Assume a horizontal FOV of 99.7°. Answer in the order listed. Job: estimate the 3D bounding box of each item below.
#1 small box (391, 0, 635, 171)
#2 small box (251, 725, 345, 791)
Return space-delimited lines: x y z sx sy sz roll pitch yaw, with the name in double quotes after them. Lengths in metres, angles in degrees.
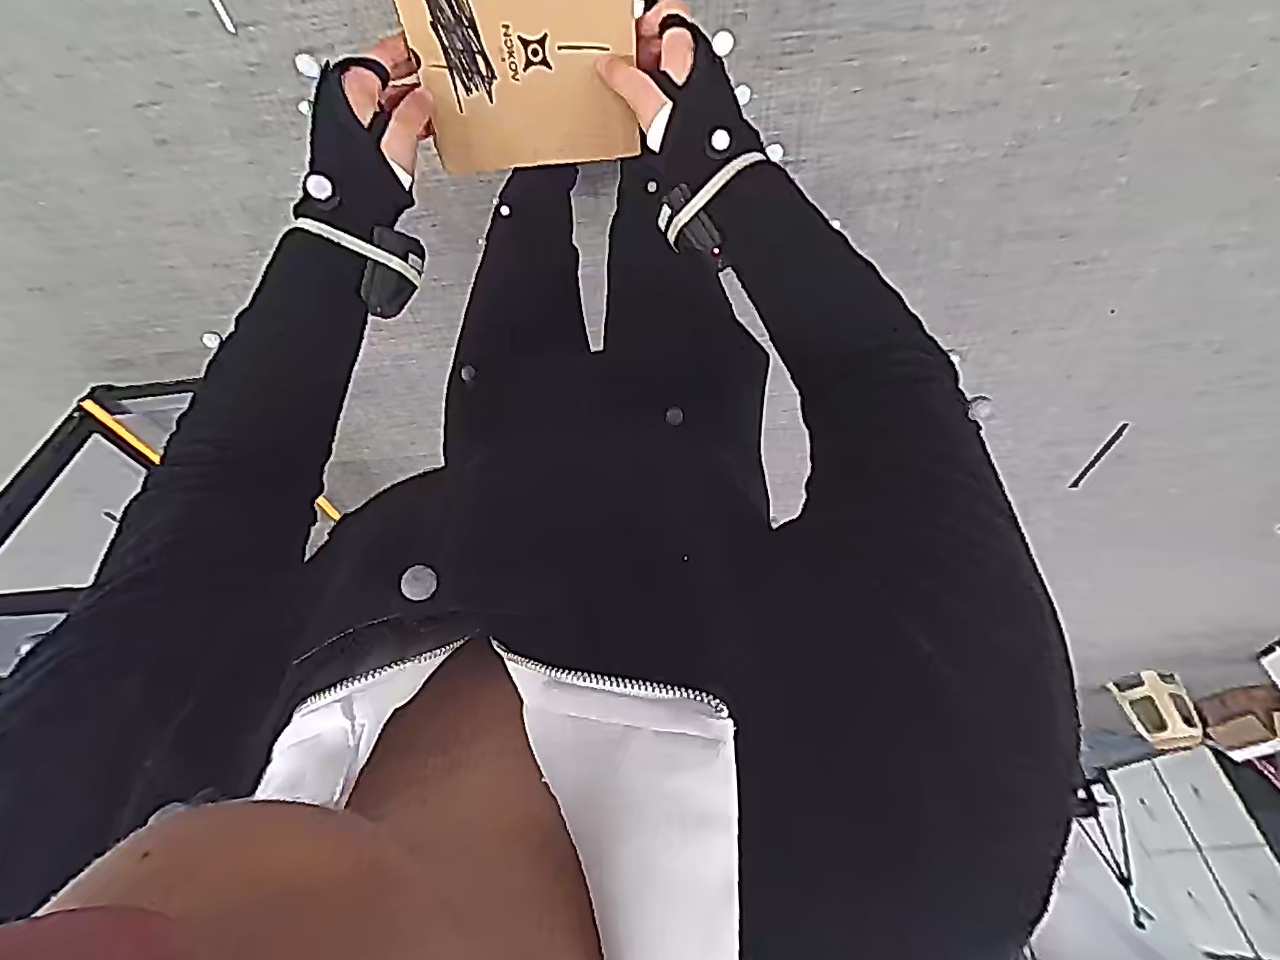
-0.100 -0.394 0.466 0.179 0.176 0.168 -6 144 -3 "small box"
-1.102 0.908 1.758 0.179 0.176 0.168 -3 143 1 "small box"
